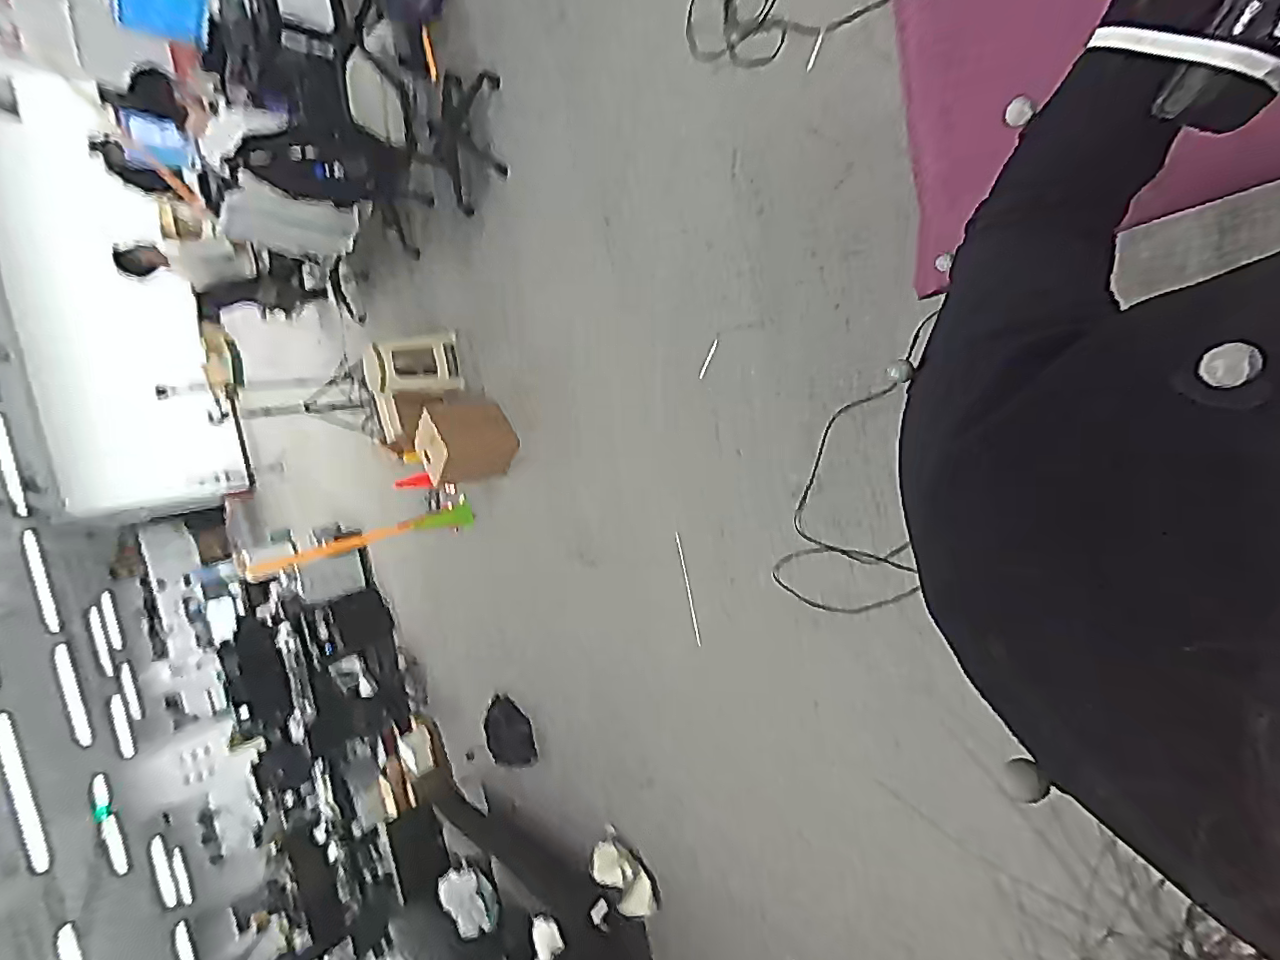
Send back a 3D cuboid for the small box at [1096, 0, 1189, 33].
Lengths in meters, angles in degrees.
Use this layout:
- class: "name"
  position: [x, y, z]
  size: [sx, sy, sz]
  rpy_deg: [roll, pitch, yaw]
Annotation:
- class: "small box"
  position: [0.445, -0.516, 0.425]
  size: [0.168, 0.176, 0.179]
  rpy_deg: [-15, 90, 49]
